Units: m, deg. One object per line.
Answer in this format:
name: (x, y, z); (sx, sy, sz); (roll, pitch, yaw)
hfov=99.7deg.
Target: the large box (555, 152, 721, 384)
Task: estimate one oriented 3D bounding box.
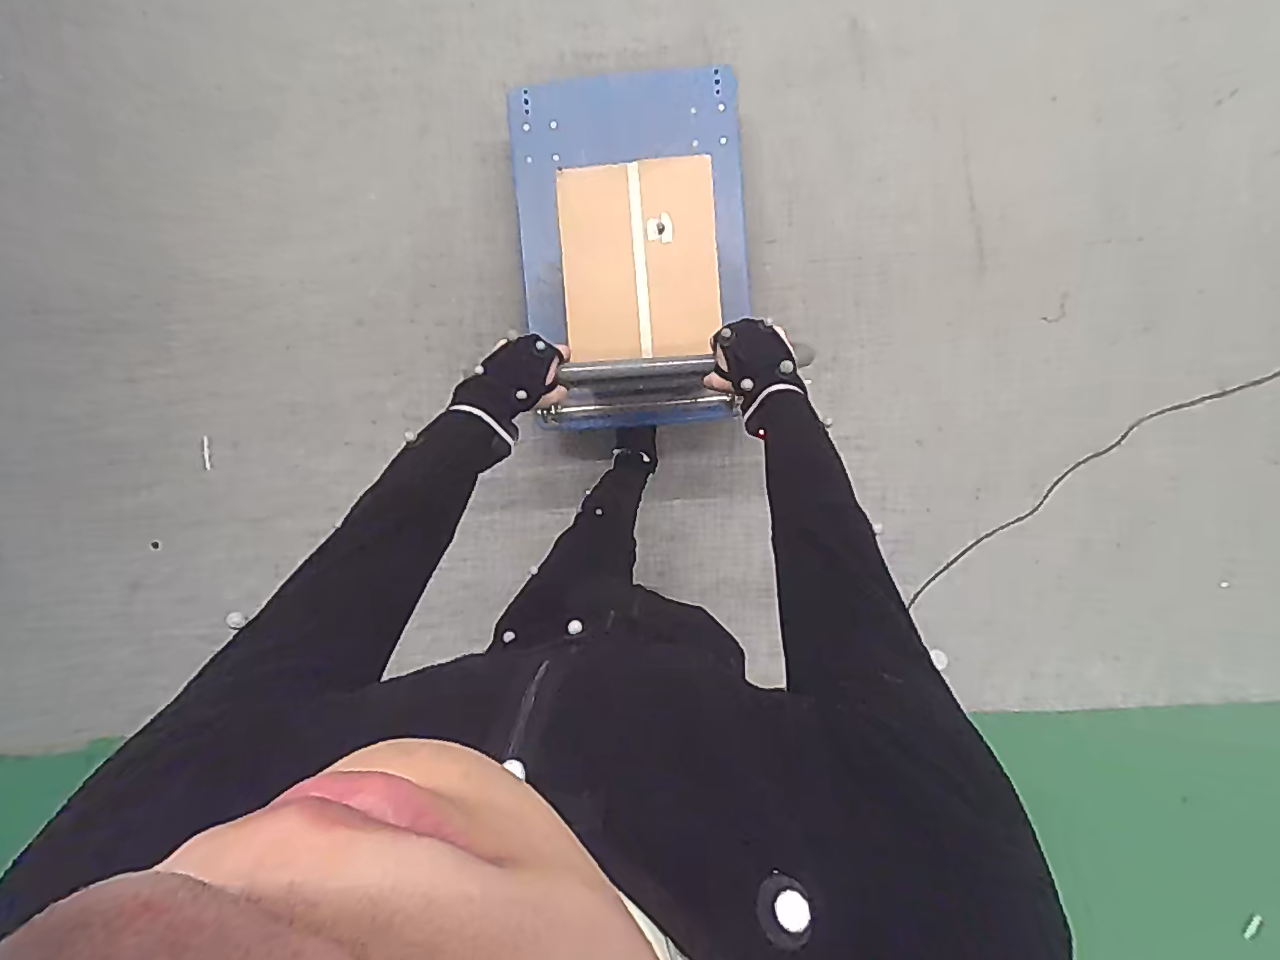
large box: (0.004, -0.451, 1.239); (0.320, 0.320, 0.408); (-4, 93, 2)
